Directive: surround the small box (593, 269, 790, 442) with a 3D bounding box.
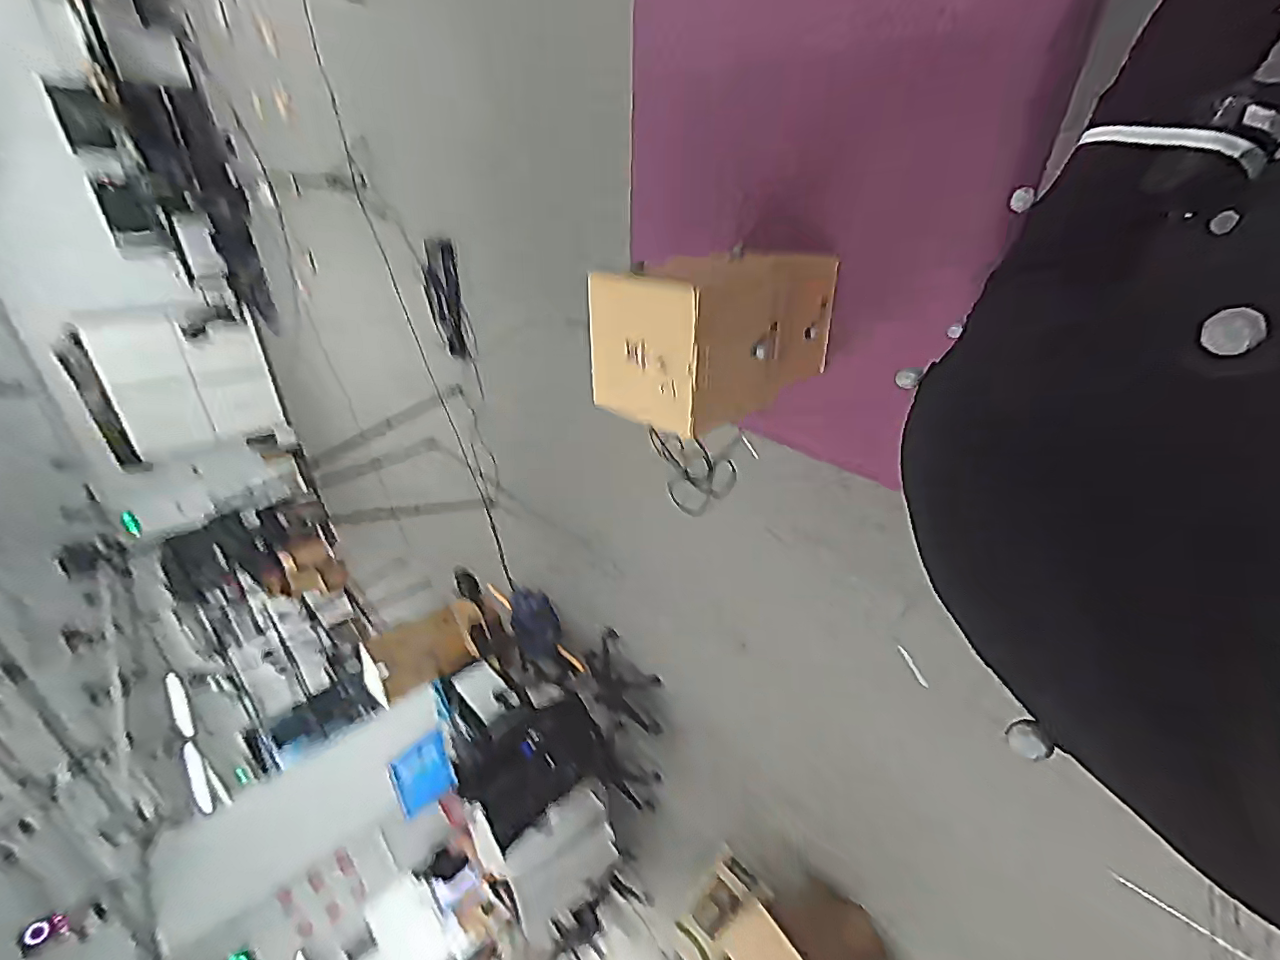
[{"bbox_3d":[0.061,-0.168,0.682,0.179,0.176,0.168,24,127,39],"label":"small box"}]

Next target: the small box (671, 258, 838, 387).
[{"bbox_3d":[0.163,-0.232,0.797,0.179,0.176,0.168,22,125,40],"label":"small box"}]
